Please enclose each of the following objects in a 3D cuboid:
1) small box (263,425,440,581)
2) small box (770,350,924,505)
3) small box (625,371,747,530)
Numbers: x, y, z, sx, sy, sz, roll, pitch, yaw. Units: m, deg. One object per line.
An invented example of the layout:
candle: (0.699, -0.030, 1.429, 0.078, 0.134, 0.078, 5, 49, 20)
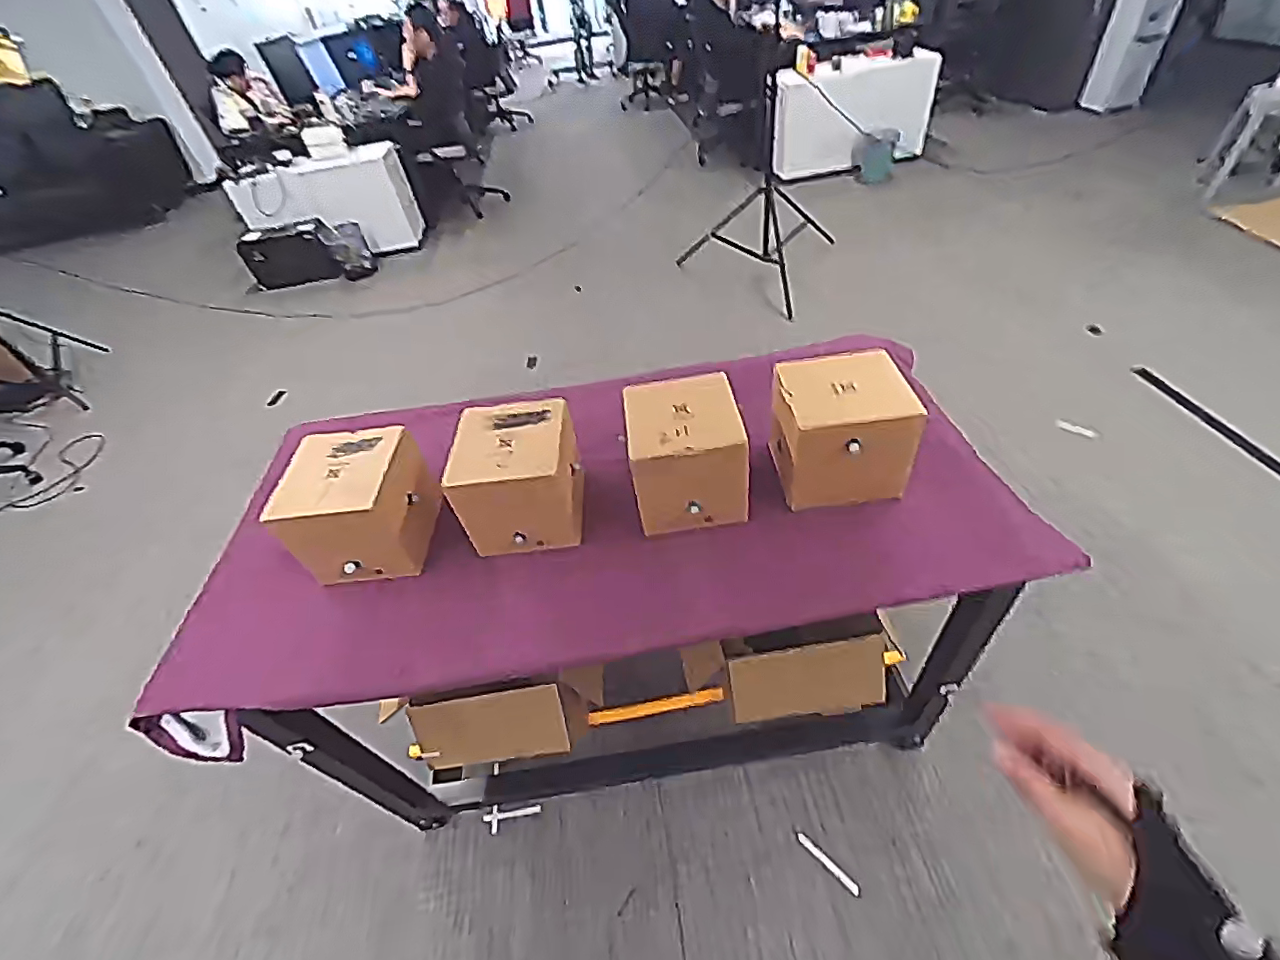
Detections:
small box: (-0.437, 0.038, 0.858, 0.168, 0.176, 0.179, -6, 47, 4)
small box: (0.308, -0.080, 0.848, 0.179, 0.176, 0.168, -7, 44, 4)
small box: (0.070, -0.045, 0.854, 0.168, 0.176, 0.179, -9, 45, 2)
